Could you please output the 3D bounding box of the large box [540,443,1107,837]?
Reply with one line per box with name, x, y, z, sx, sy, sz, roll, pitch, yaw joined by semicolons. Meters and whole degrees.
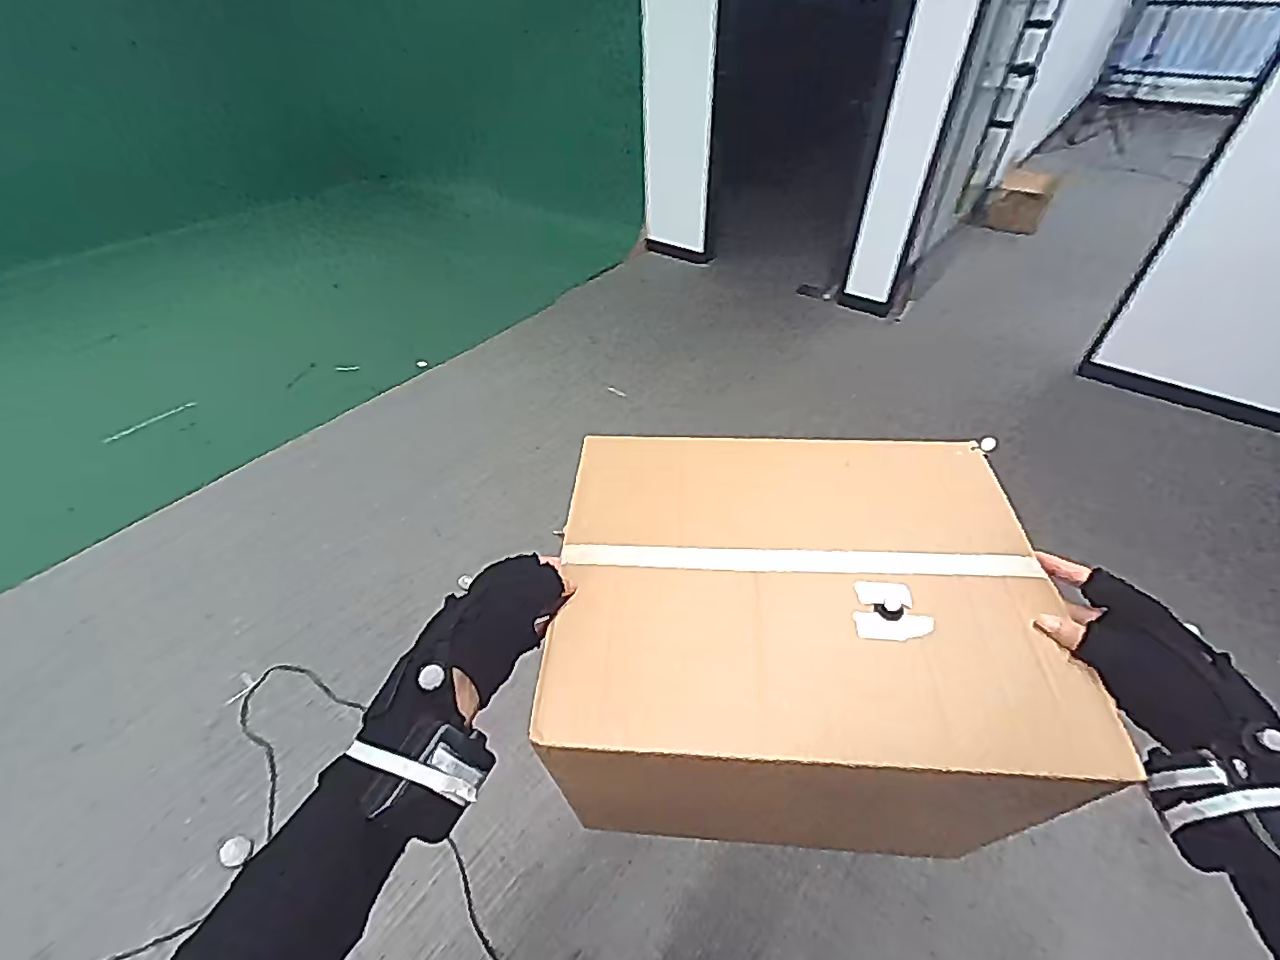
large box;0.135;0.175;0.587;0.408;0.320;0.320;0;49;4
